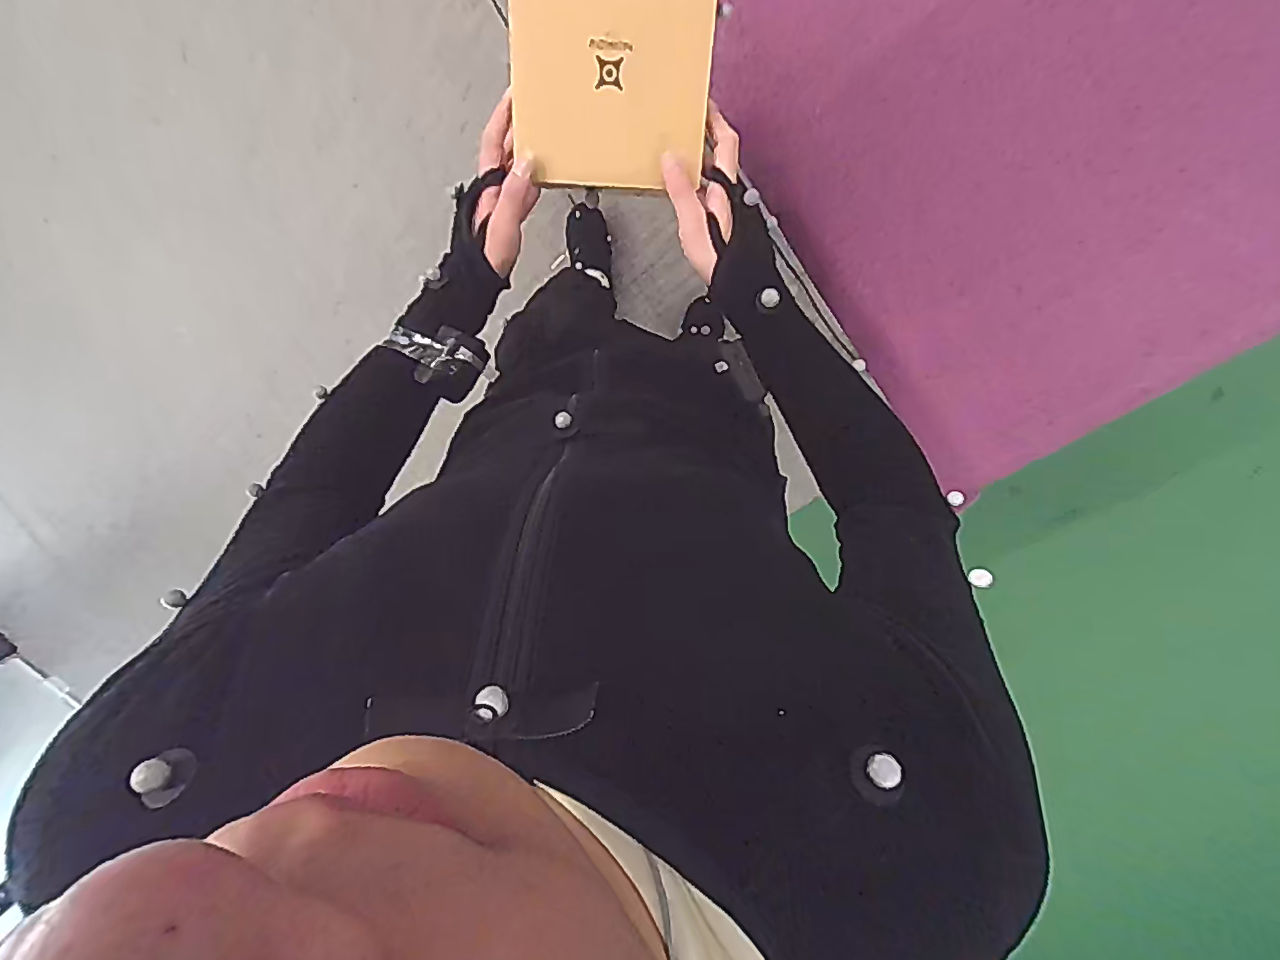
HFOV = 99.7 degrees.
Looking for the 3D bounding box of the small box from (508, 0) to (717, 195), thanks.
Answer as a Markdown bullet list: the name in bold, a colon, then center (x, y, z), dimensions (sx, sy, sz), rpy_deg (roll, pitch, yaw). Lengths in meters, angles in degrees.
- **small box**: center (-0.020, -0.372, 0.507), dimensions (0.168, 0.176, 0.179), rpy_deg (4, 115, 1)
